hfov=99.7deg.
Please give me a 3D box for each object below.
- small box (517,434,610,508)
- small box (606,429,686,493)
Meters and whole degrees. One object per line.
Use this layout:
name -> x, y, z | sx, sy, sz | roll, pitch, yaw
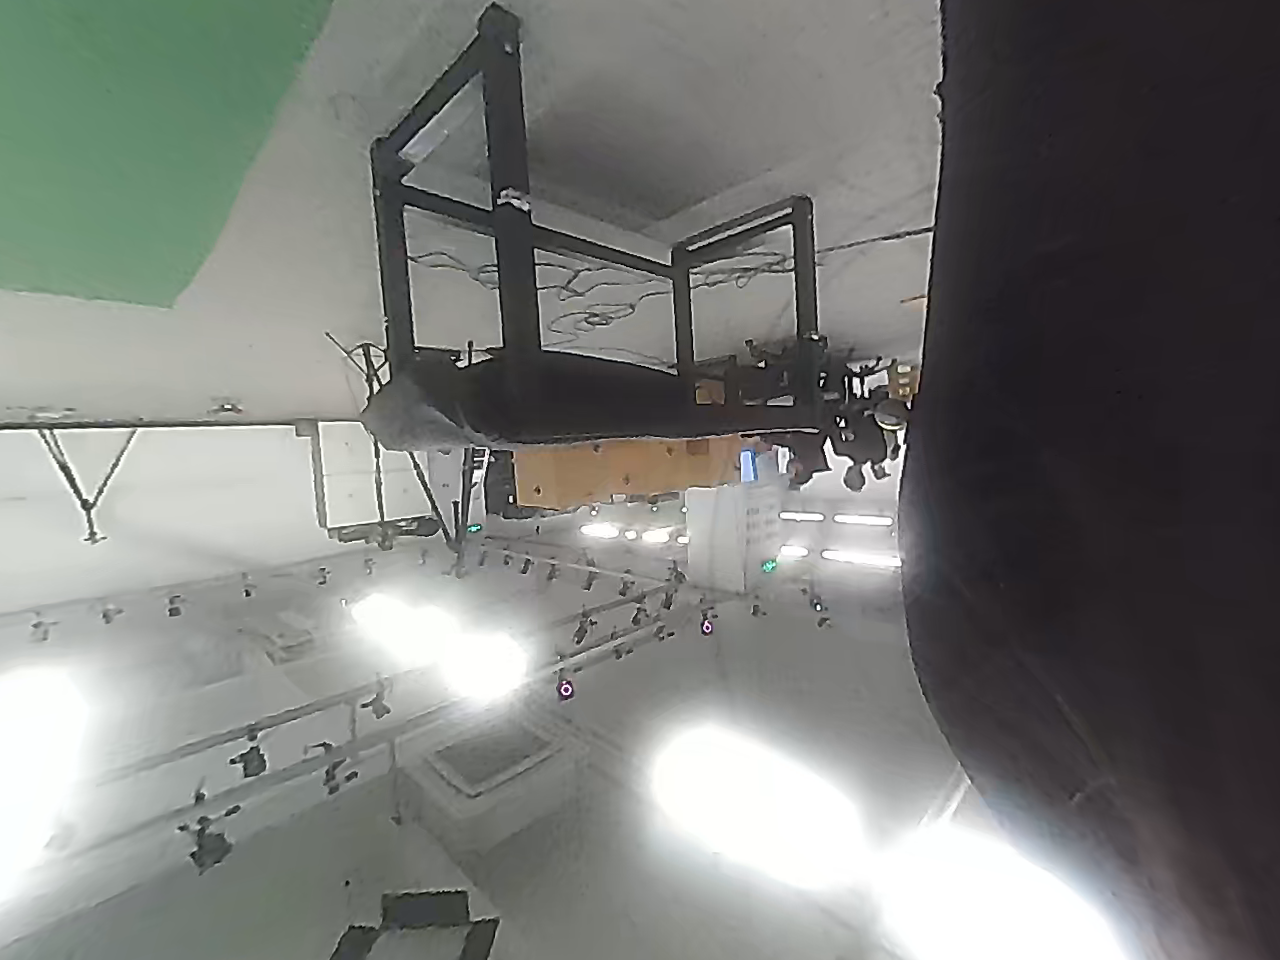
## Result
small box -> -0.196, -0.028, 1.349 | 0.168, 0.176, 0.179 | -6, -174, -44
small box -> 0.015, -0.054, 1.536 | 0.168, 0.176, 0.179 | -6, -176, -44
